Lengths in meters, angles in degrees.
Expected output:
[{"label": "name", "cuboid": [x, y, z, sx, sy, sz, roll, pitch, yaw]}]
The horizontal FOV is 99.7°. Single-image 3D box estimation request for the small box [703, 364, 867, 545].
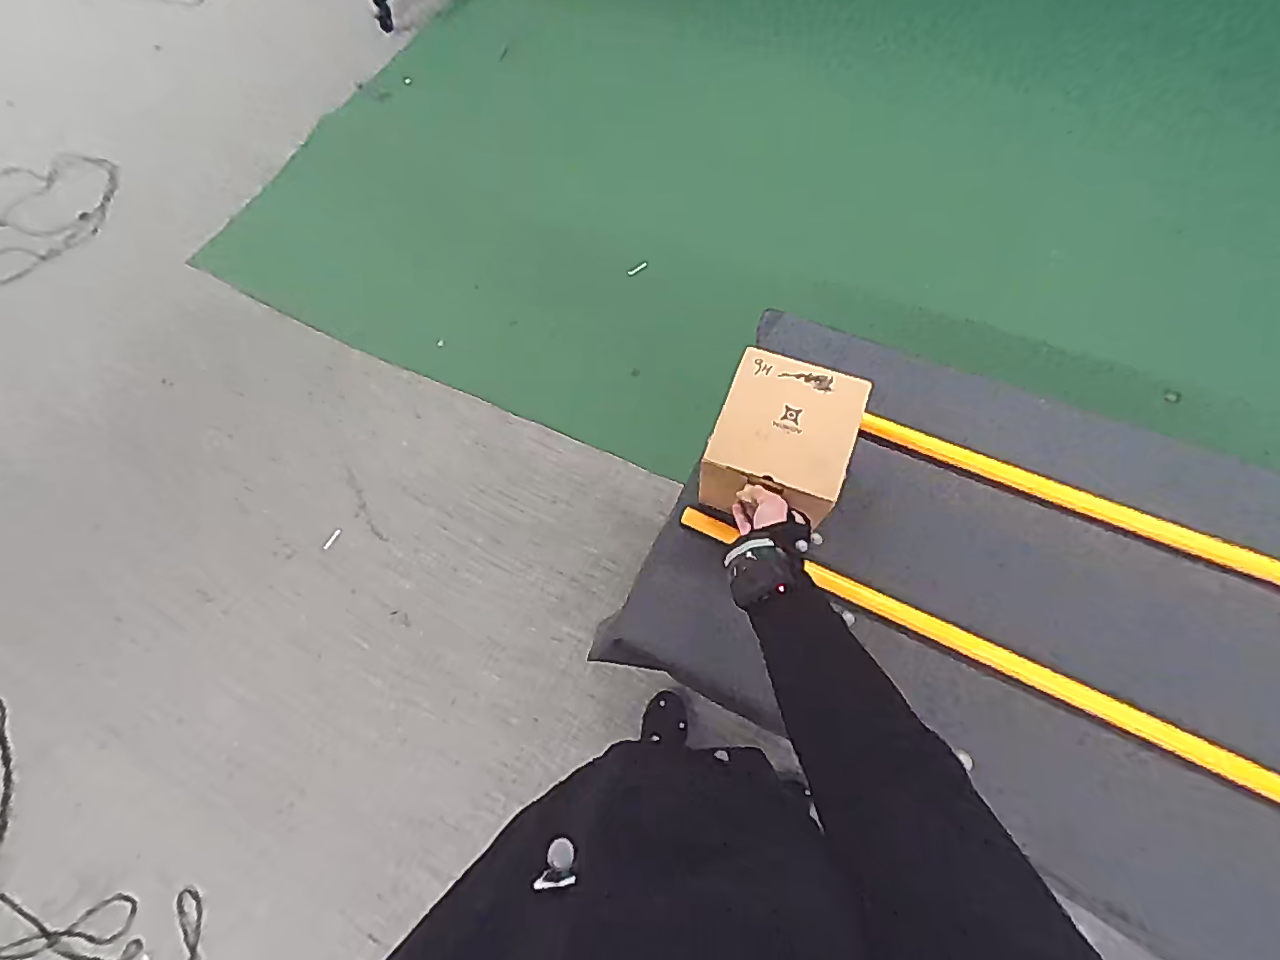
[{"label": "small box", "cuboid": [0.194, -0.027, 0.749, 0.168, 0.176, 0.179, 16, 70, 13]}]
